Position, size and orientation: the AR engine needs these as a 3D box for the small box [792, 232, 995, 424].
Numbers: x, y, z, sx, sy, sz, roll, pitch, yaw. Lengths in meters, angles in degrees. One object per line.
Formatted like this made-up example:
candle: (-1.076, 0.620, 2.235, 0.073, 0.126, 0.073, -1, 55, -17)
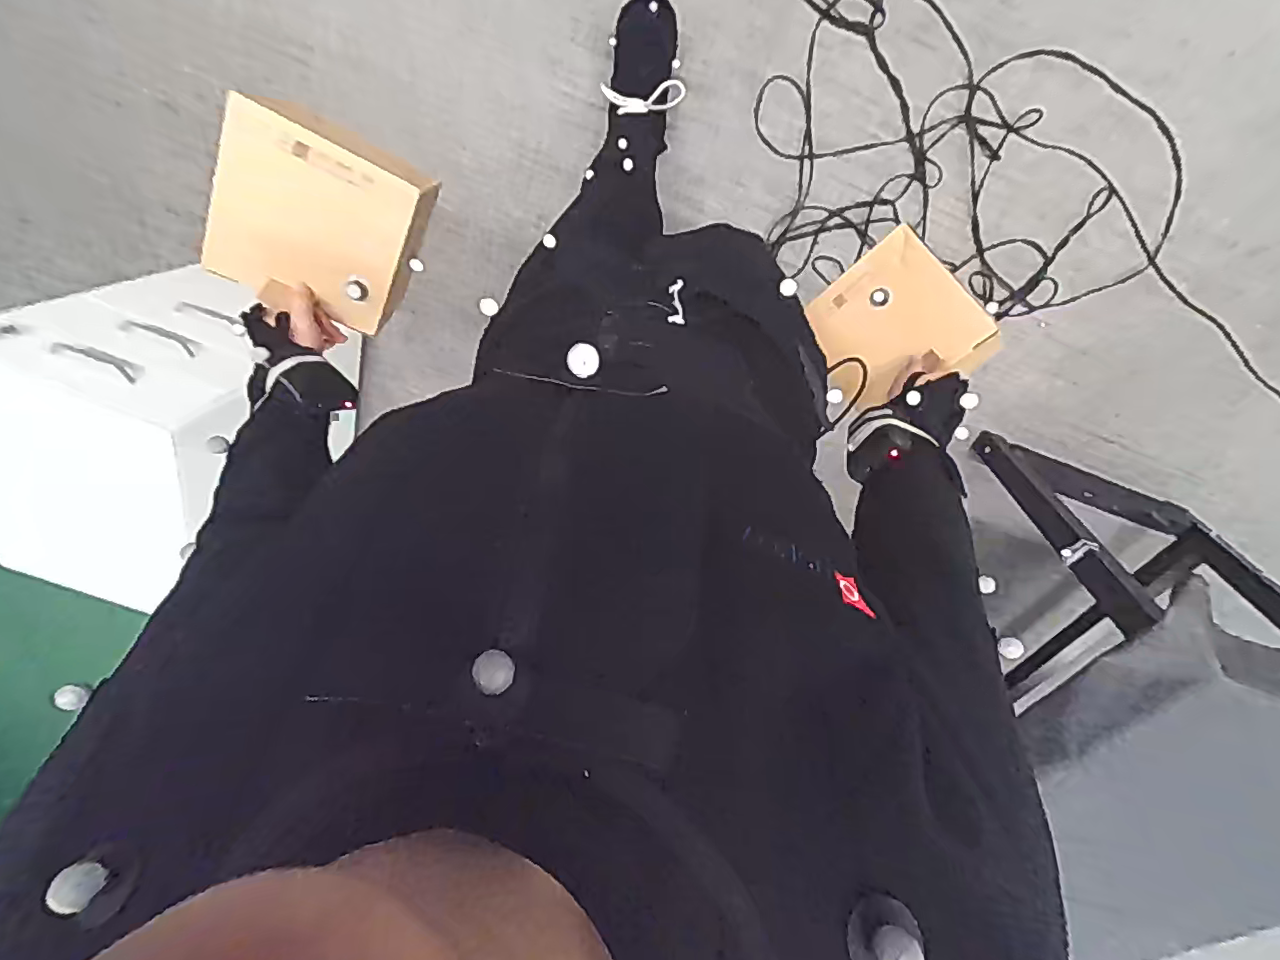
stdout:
small box: (0.331, -0.189, 0.708, 0.168, 0.179, 0.176, -39, 73, 30)
